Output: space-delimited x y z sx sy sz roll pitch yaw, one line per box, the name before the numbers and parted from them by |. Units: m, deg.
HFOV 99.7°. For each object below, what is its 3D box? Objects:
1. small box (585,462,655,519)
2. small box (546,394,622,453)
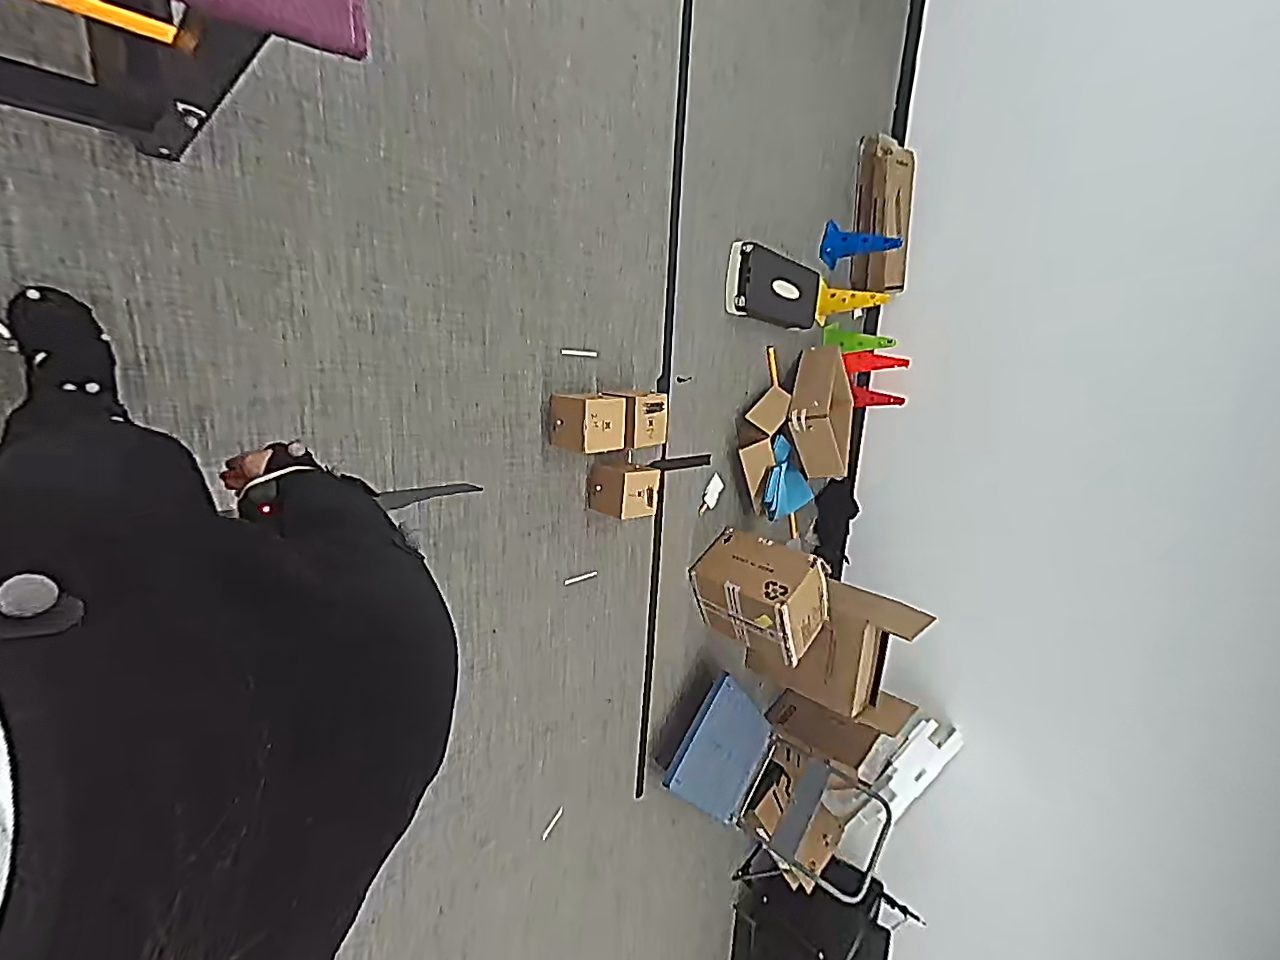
small box | -0.072 0.031 1.922 0.179 0.176 0.168 -6 106 -47
small box | -0.180 -0.188 1.733 0.179 0.176 0.168 -11 109 -46
